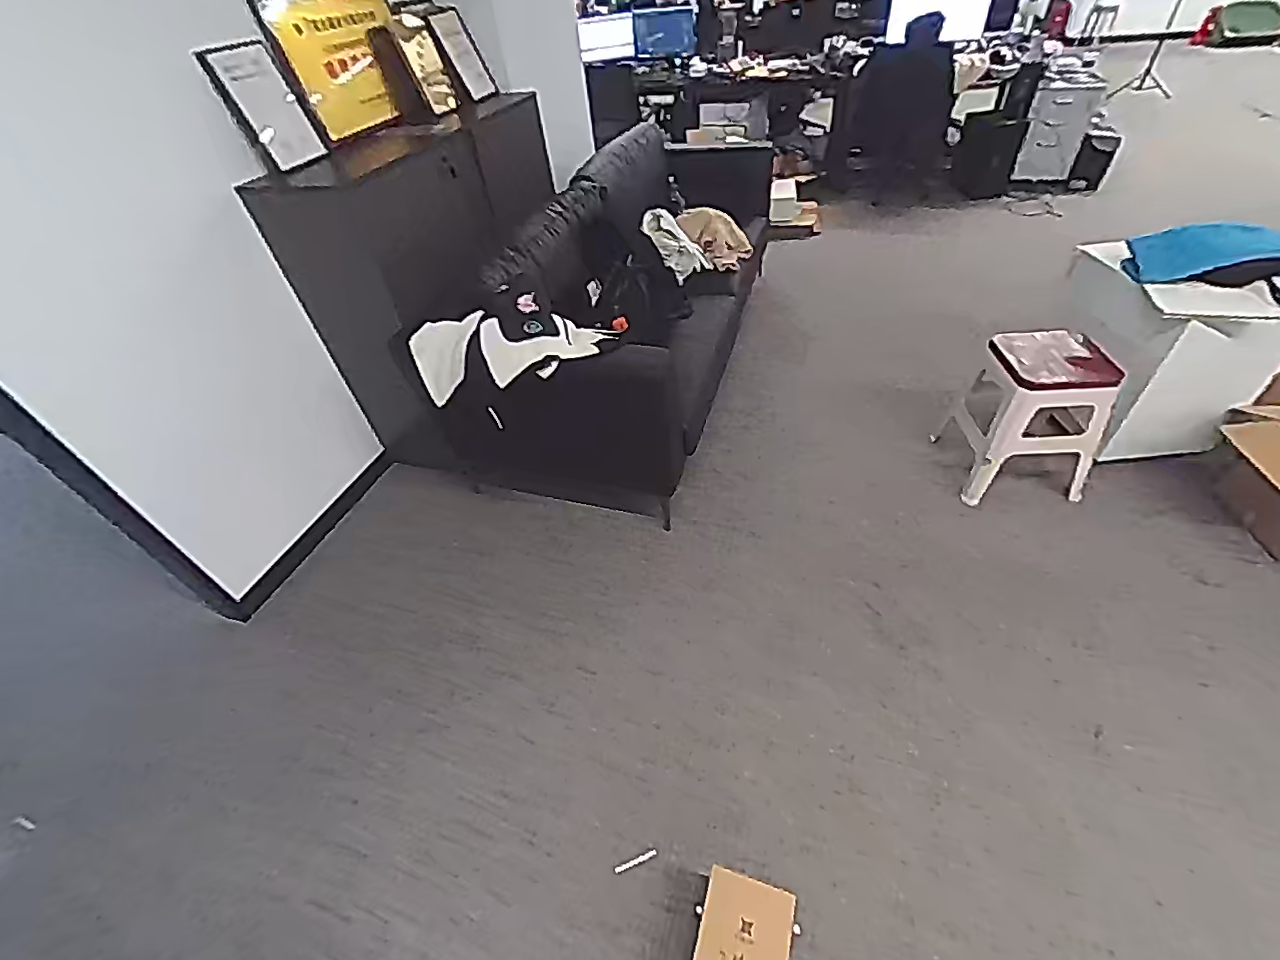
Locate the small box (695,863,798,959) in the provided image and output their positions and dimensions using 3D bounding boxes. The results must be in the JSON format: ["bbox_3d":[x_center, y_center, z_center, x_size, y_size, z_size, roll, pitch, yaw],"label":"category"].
[{"bbox_3d":[0.206,0.898,1.061,0.168,0.176,0.179,10,47,18],"label":"small box"}]
